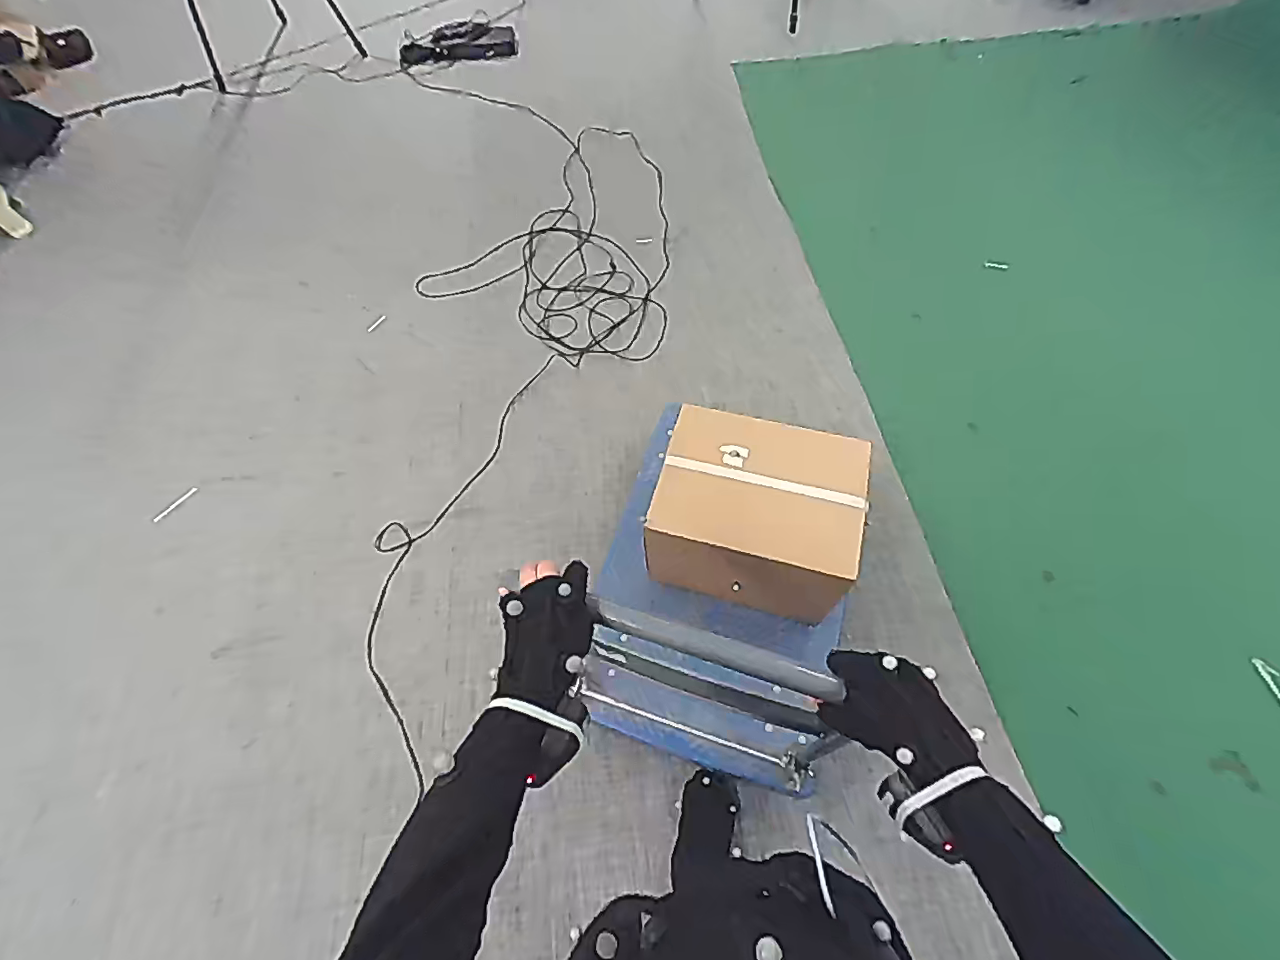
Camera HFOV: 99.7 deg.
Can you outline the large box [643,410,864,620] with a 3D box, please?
[{"bbox_3d":[0.246,0.086,1.218,0.408,0.320,0.320,13,61,11],"label":"large box"}]
